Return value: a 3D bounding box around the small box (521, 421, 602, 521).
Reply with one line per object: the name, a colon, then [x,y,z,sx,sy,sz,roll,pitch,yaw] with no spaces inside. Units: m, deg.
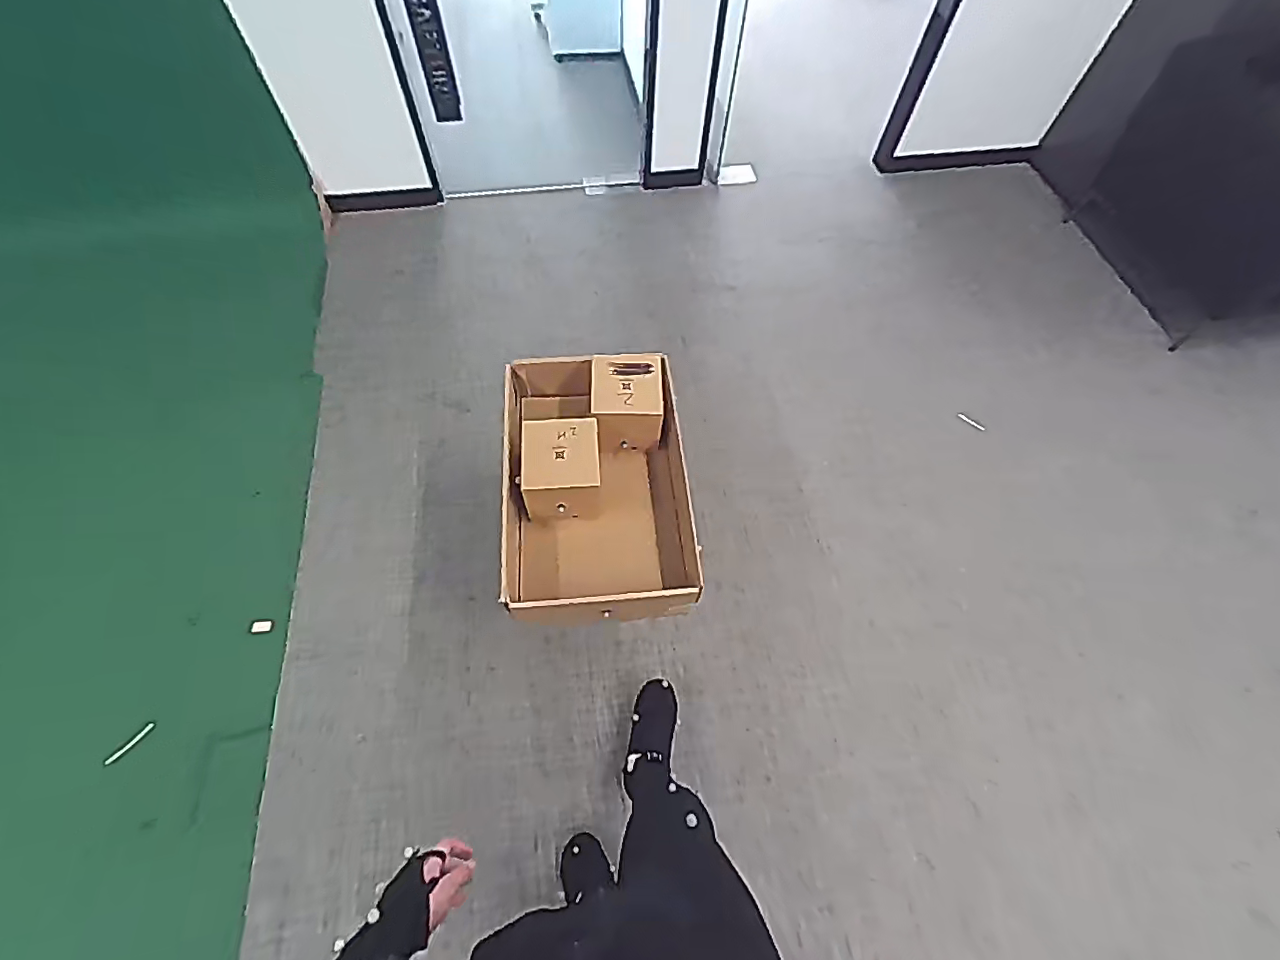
small box: [-0.170,-0.014,1.217,0.168,0.176,0.179,-2,61,-5]
